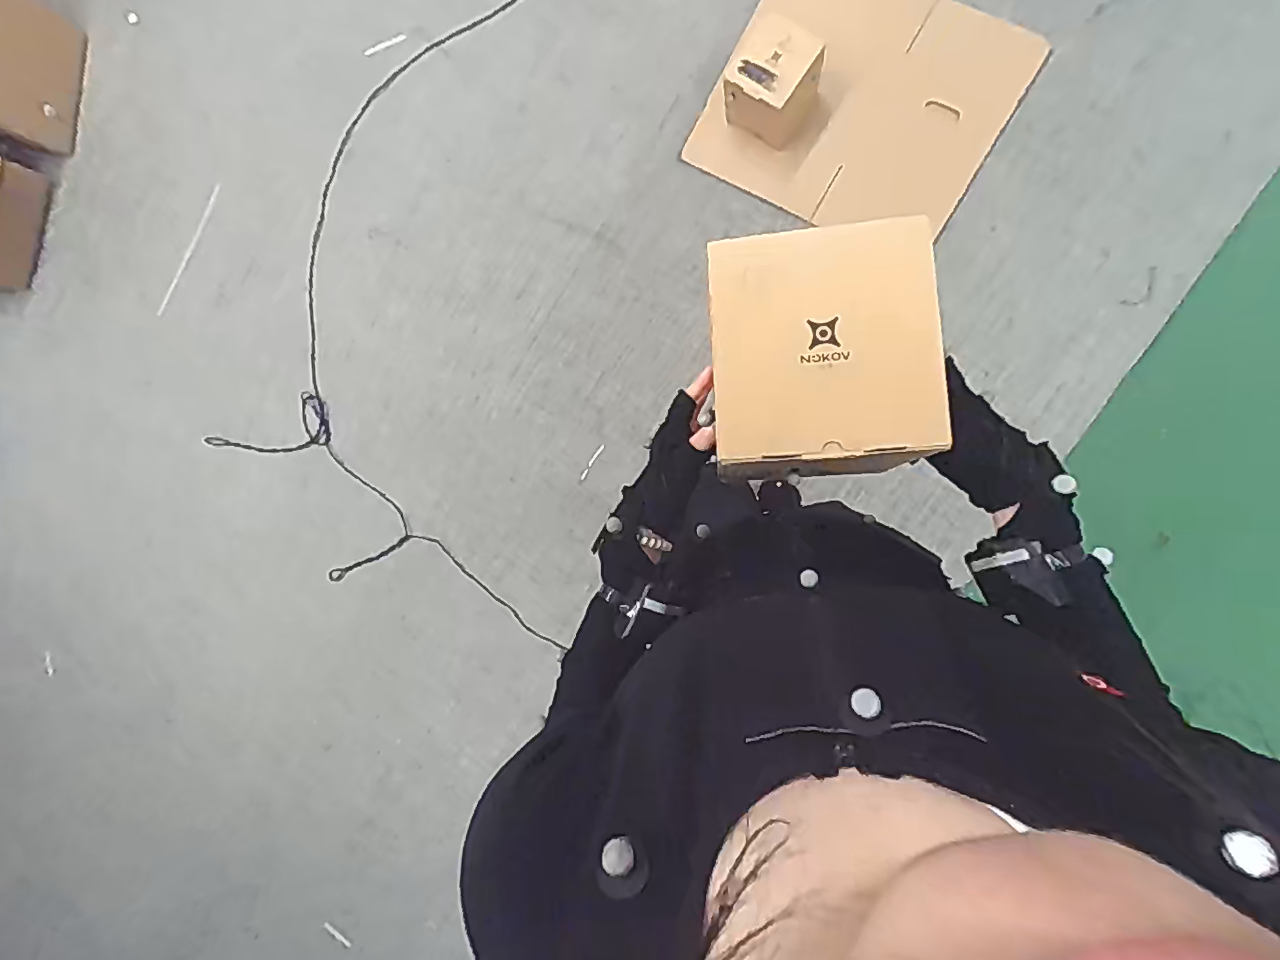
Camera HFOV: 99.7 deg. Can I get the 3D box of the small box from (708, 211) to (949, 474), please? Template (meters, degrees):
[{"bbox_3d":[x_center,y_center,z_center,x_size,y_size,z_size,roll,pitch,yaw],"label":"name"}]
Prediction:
[{"bbox_3d":[0.146,-0.102,0.480,0.168,0.176,0.179,-4,86,8],"label":"small box"}]
